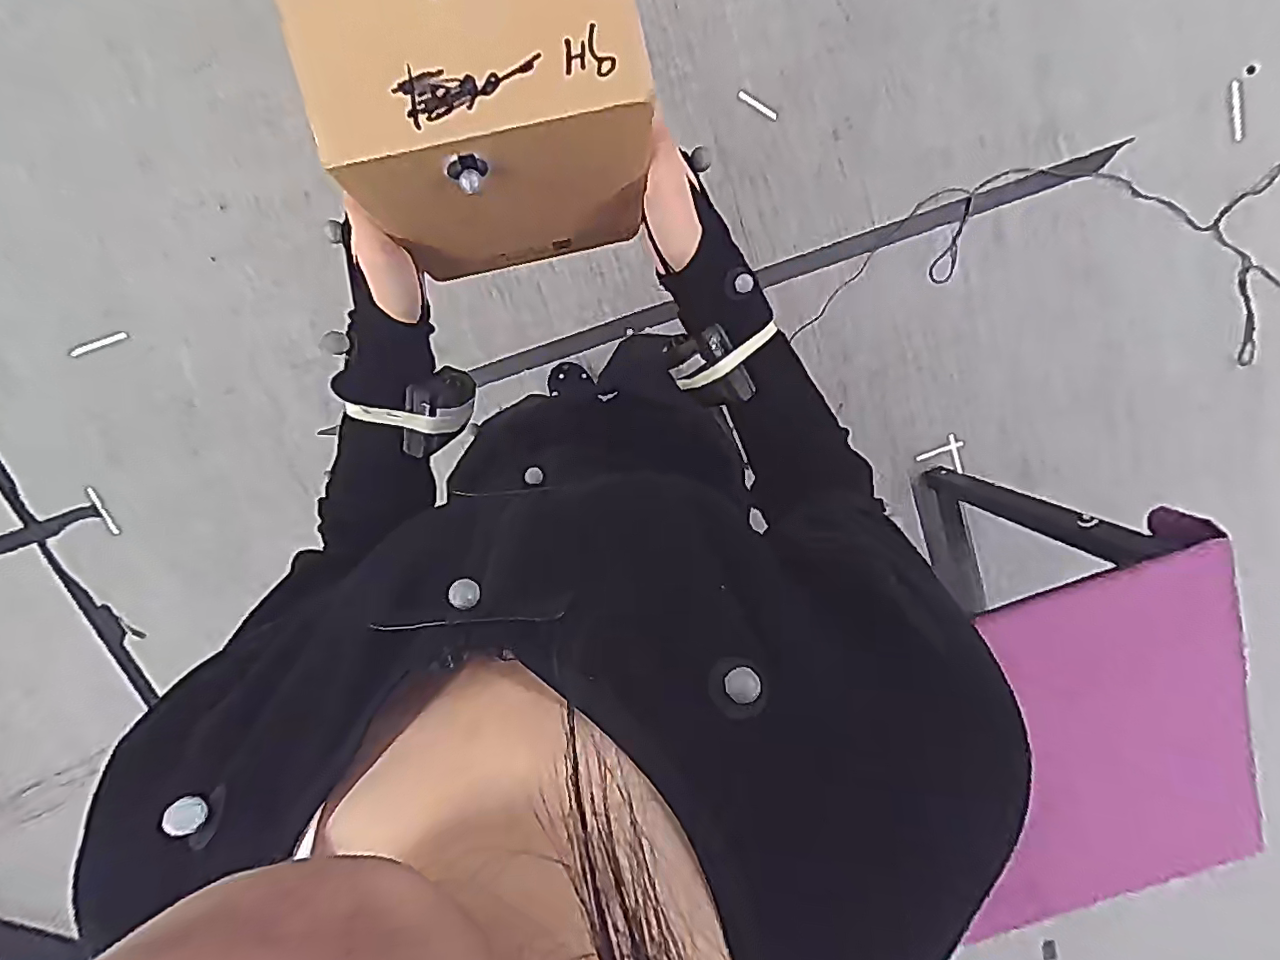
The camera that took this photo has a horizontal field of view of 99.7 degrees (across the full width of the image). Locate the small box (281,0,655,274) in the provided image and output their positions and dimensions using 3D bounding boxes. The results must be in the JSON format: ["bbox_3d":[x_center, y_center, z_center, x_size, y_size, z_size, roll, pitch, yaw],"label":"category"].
[{"bbox_3d":[-0.094,-0.255,0.334,0.168,0.176,0.179,-13,92,-2],"label":"small box"}]
